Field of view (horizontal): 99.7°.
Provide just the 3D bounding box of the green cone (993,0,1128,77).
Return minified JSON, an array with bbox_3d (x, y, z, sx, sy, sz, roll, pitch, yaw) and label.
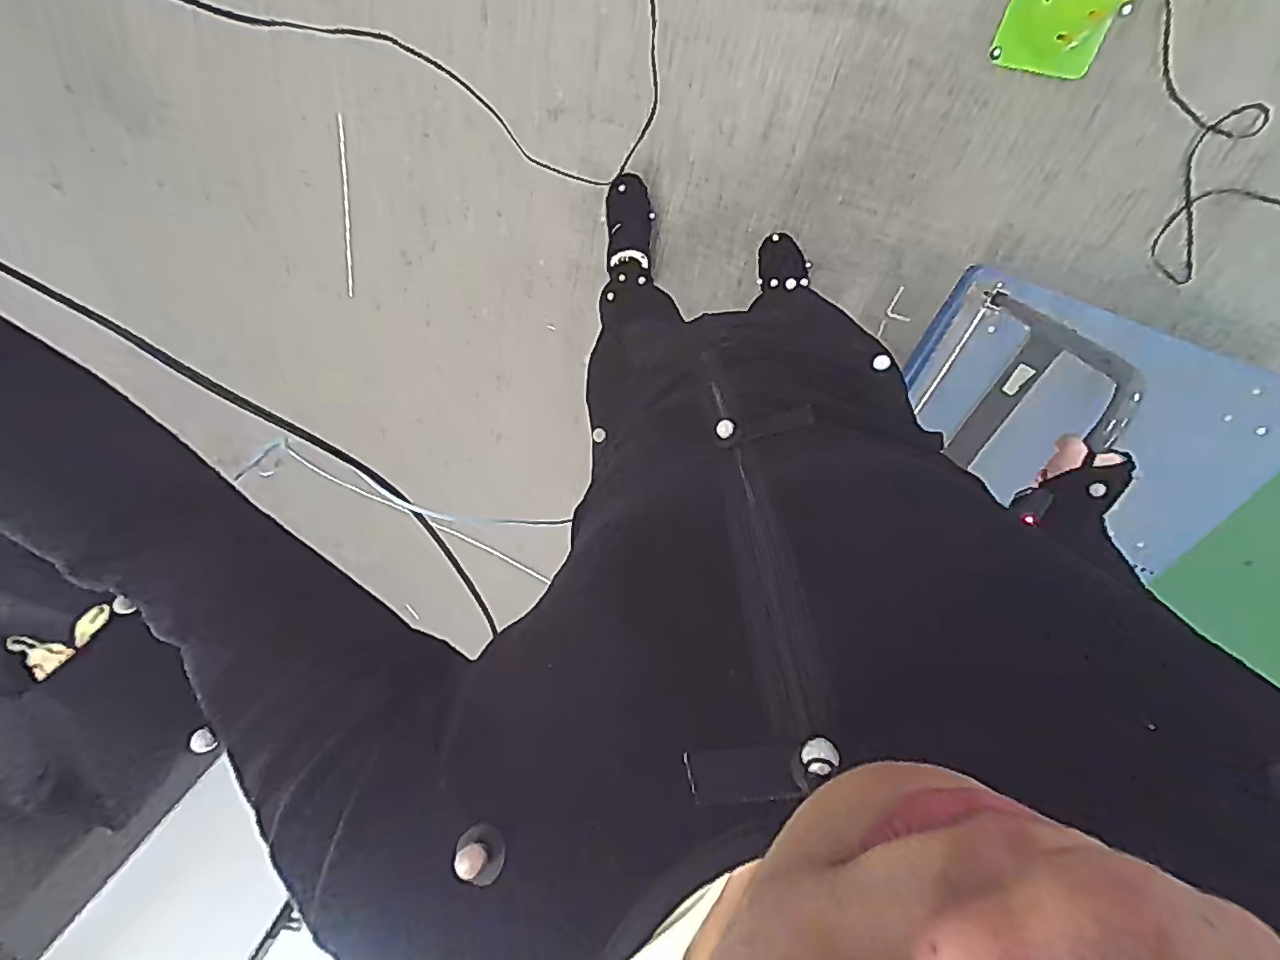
[{"bbox_3d":[0.803,-0.847,0.914,0.200,0.368,0.202,14,120,4],"label":"green cone"}]
